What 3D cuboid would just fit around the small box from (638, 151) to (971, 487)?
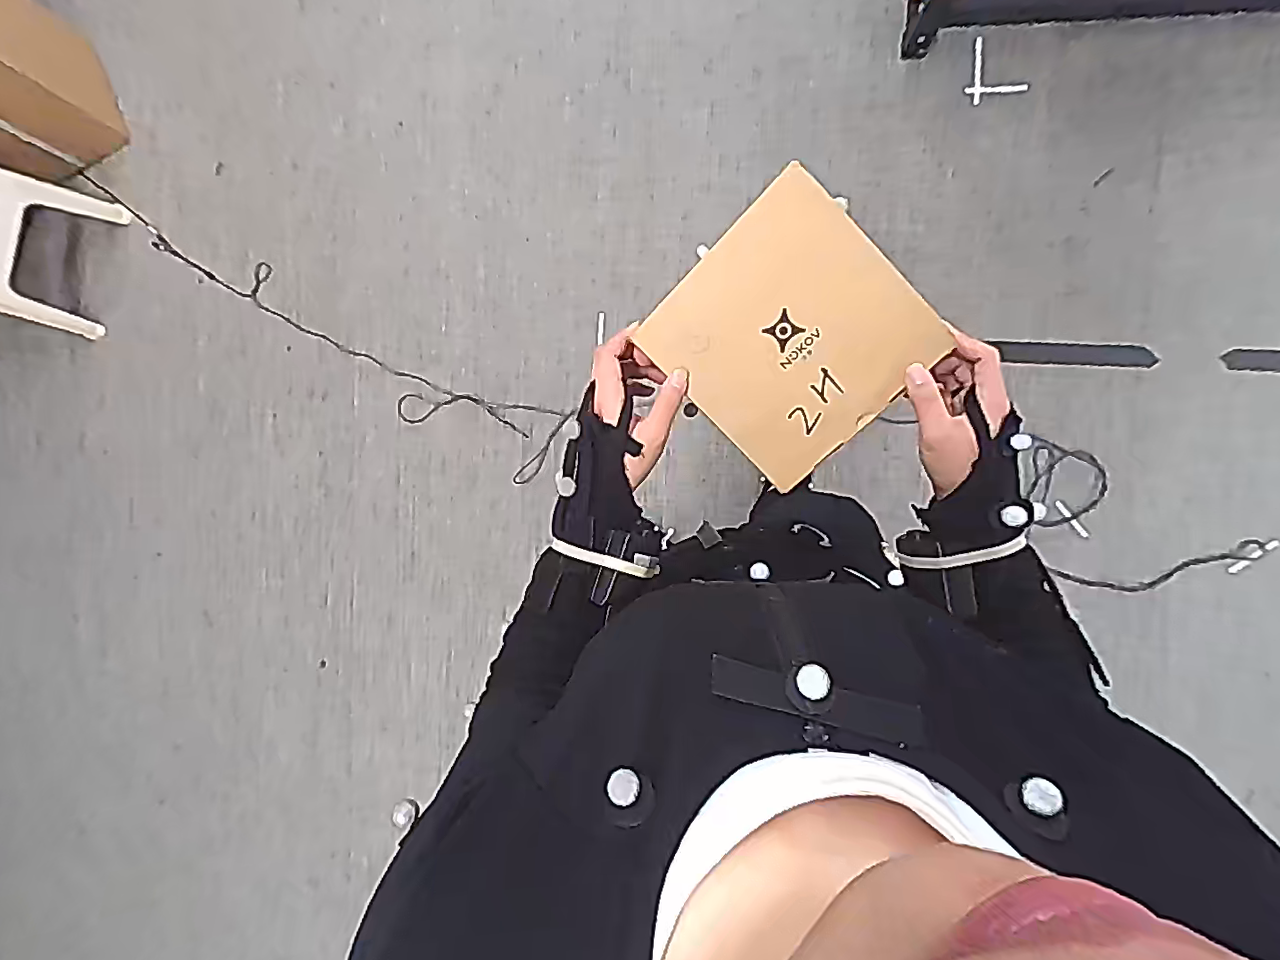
[{"bbox_3d":[0.122,-0.126,0.460,0.179,0.176,0.168,44,107,-7],"label":"small box"}]
